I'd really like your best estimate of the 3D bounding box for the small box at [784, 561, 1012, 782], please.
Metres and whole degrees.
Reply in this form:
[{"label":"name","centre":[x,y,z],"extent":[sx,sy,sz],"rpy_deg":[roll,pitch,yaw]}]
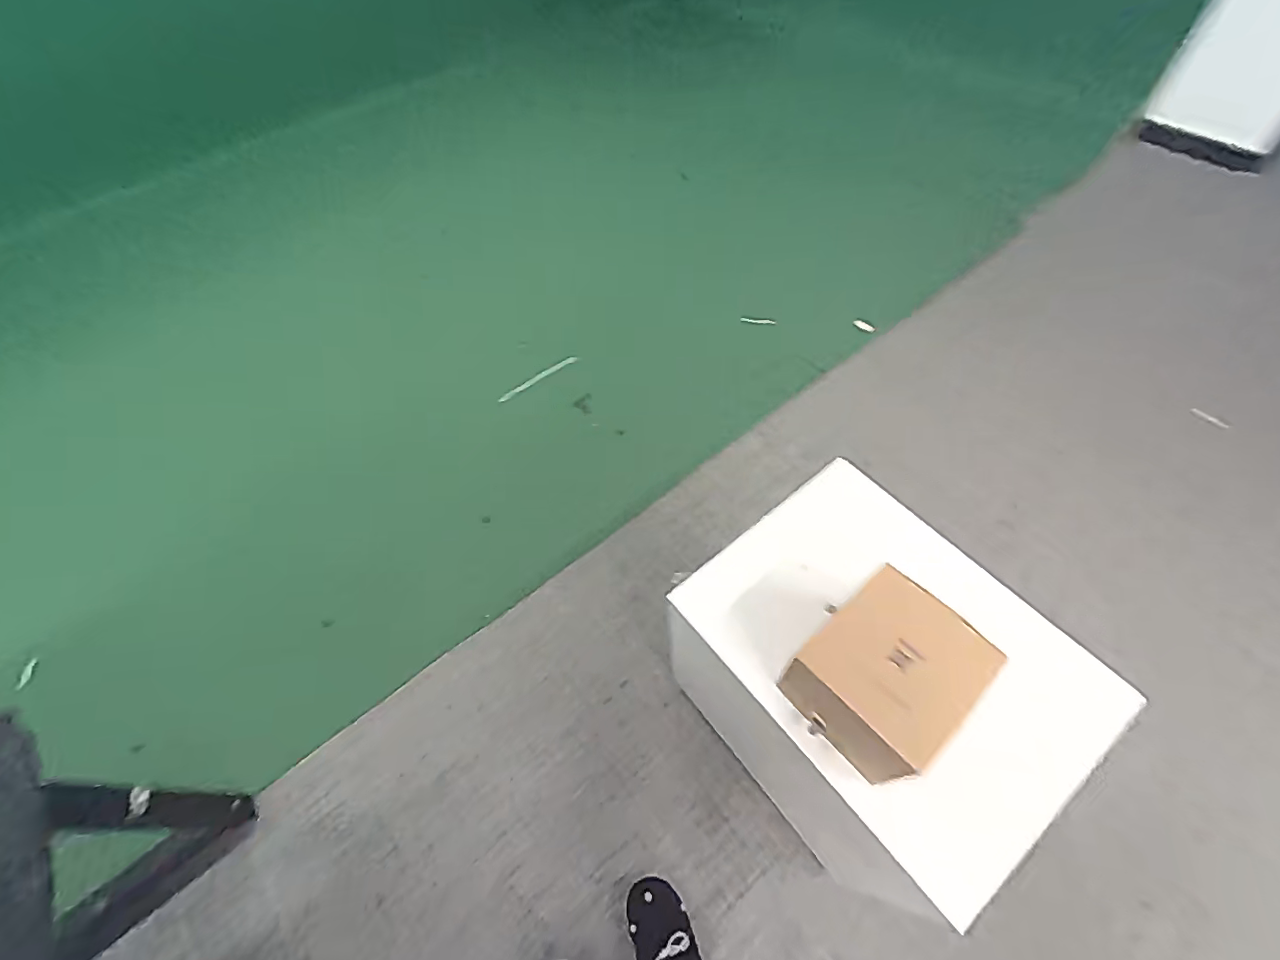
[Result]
[{"label":"small box","centre":[0.297,0.238,0.666],"extent":[0.179,0.176,0.168],"rpy_deg":[-39,61,-17]}]
